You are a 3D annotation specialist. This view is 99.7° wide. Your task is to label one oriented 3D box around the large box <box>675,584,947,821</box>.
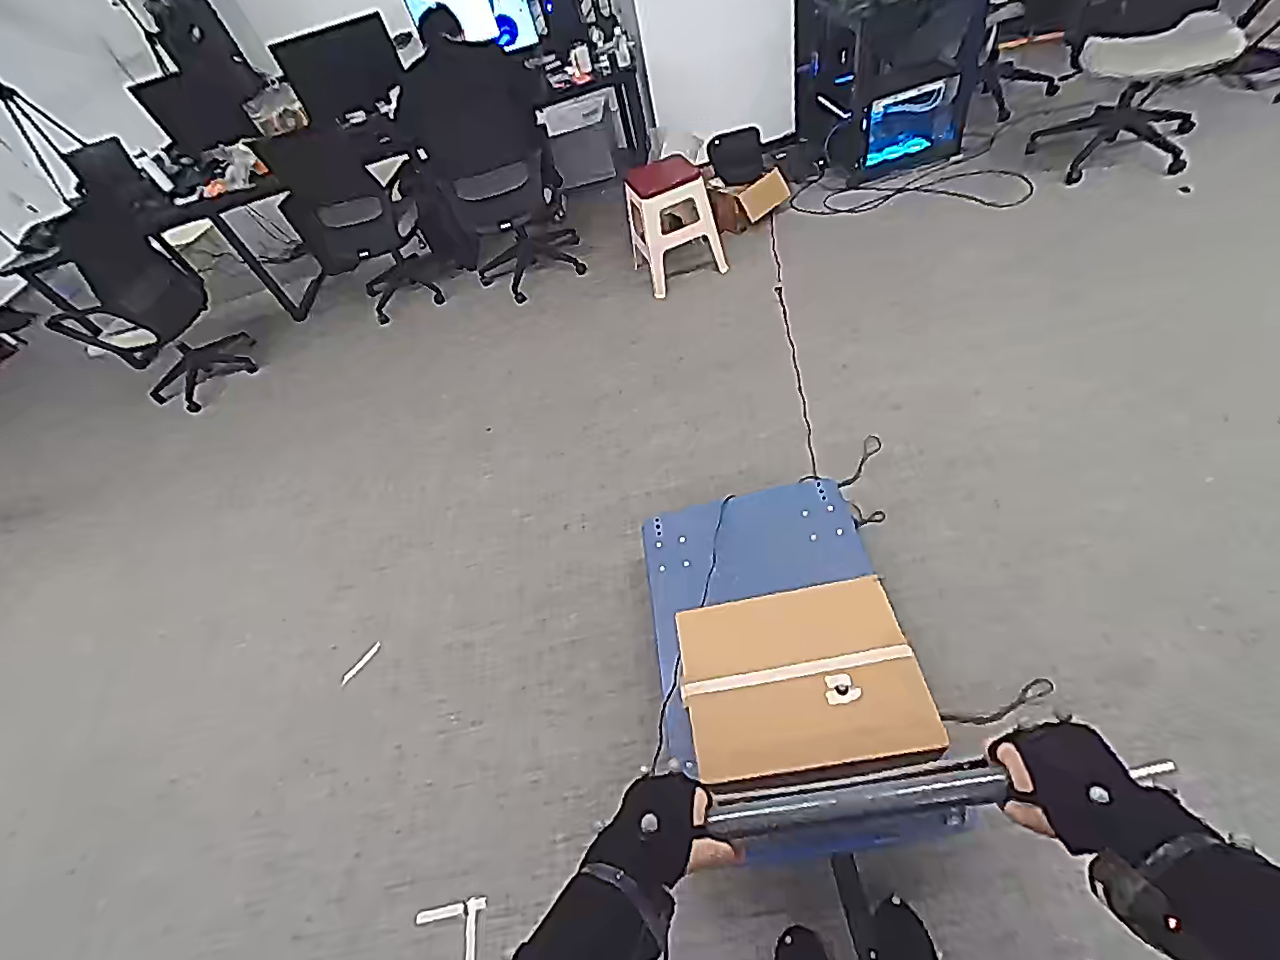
[{"bbox_3d":[0.307,0.450,1.073,0.408,0.320,0.320,-12,50,6],"label":"large box"}]
